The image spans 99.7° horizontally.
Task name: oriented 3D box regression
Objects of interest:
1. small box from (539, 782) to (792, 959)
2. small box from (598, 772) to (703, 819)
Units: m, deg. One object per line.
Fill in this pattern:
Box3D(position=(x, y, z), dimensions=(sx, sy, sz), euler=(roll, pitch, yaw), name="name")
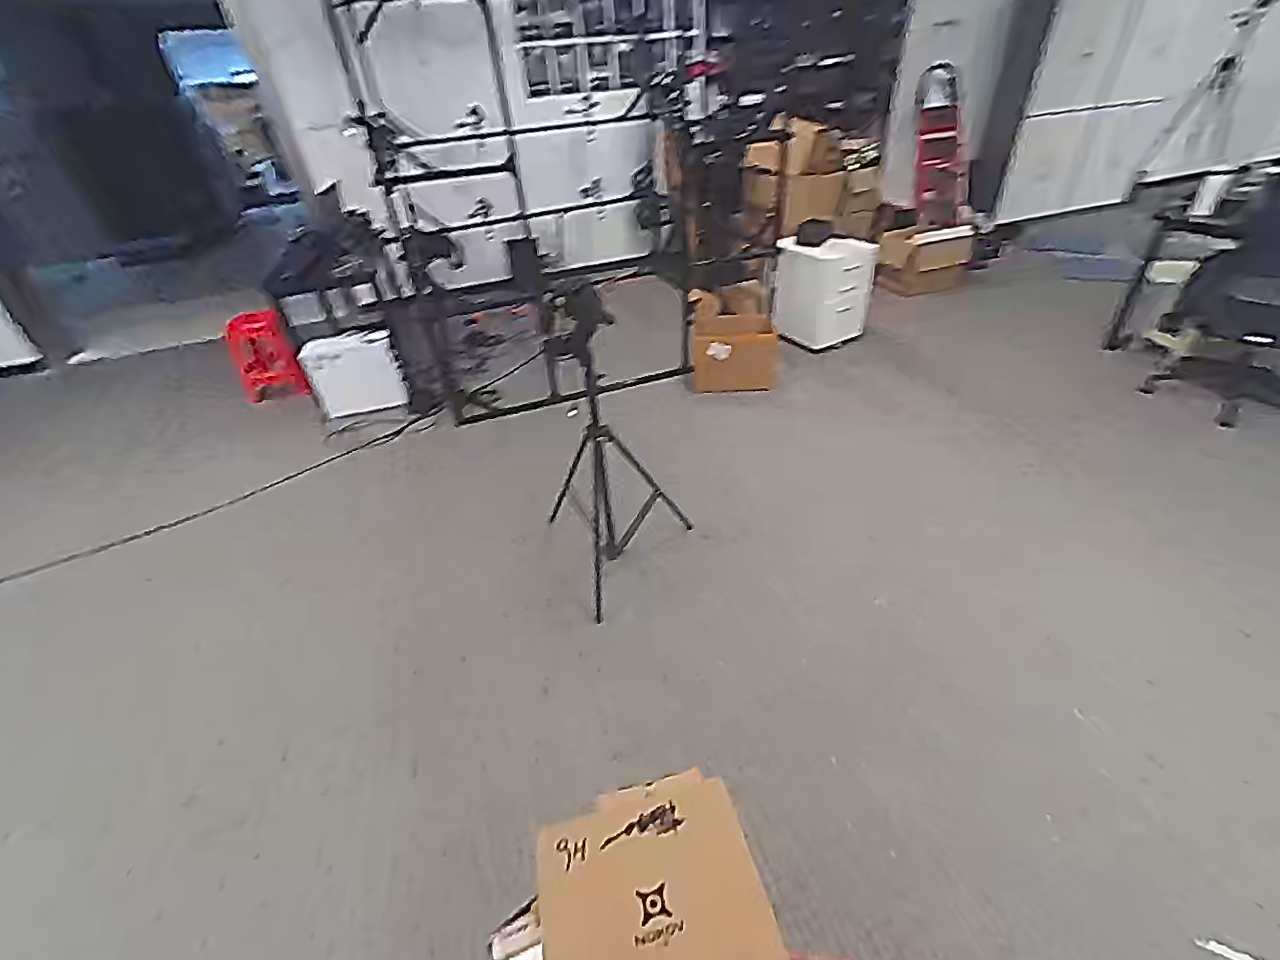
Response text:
Box3D(position=(0.024, 0.386, 0.422), dimensions=(0.168, 0.176, 0.179), euler=(-12, 31, -8), name="small box")
Box3D(position=(0.033, 0.582, 0.813), dimensions=(0.168, 0.176, 0.179), euler=(-10, 40, -10), name="small box")
